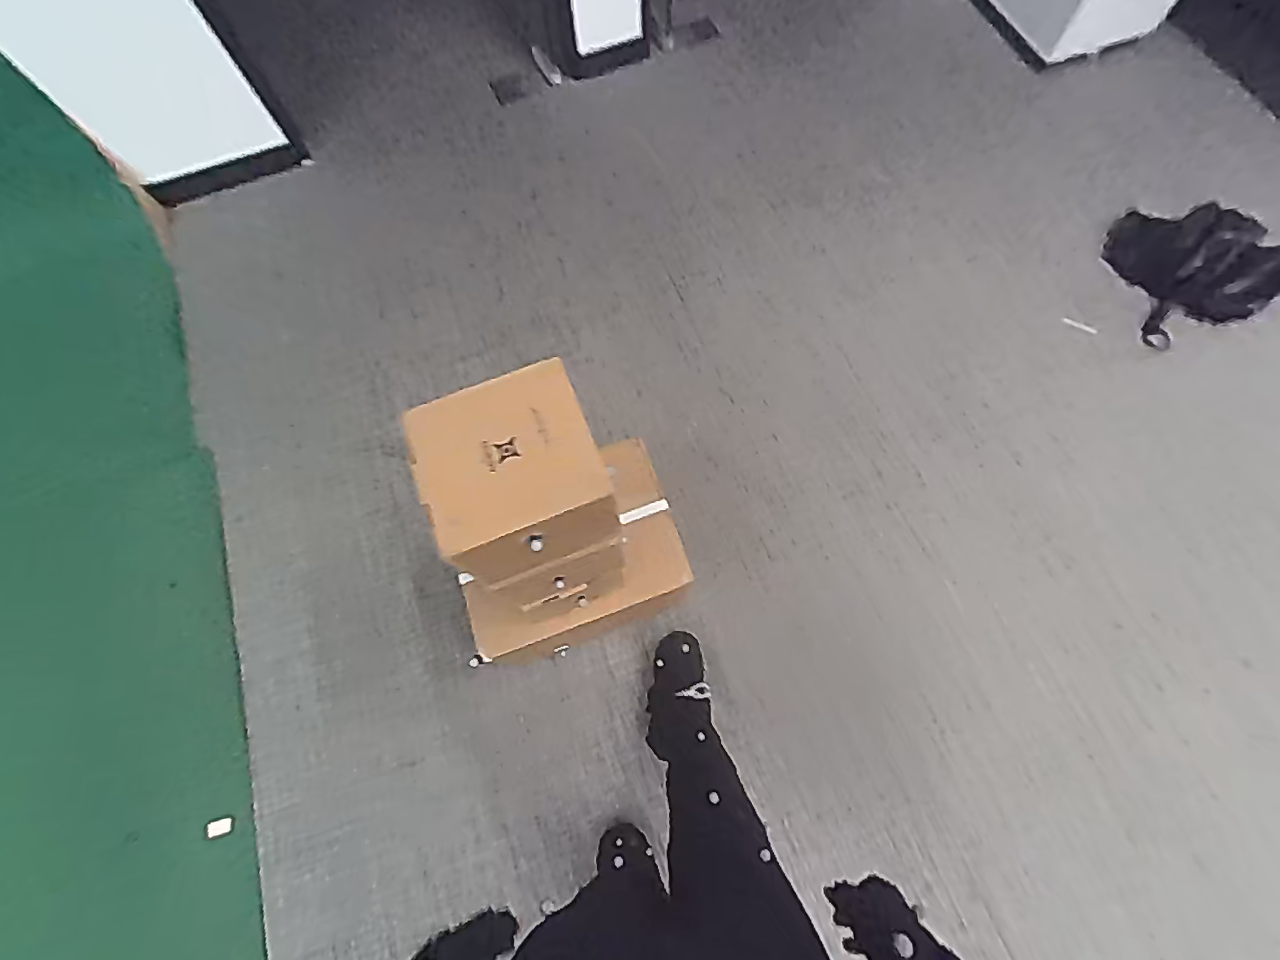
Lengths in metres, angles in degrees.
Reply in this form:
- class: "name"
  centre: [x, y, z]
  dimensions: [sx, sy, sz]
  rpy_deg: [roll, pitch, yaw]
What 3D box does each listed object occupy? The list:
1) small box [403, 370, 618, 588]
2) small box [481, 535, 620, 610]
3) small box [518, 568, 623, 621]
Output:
- class: "small box"
  centre: [-0.134, 0.010, 0.614]
  dimensions: [0.179, 0.176, 0.168]
  rpy_deg: [-21, 72, -7]
- class: "small box"
  centre: [-0.133, 0.072, 0.764]
  dimensions: [0.179, 0.176, 0.168]
  rpy_deg: [-20, 71, -5]
- class: "small box"
  centre: [-0.135, 0.129, 0.918]
  dimensions: [0.168, 0.176, 0.179]
  rpy_deg: [-23, 72, -6]
